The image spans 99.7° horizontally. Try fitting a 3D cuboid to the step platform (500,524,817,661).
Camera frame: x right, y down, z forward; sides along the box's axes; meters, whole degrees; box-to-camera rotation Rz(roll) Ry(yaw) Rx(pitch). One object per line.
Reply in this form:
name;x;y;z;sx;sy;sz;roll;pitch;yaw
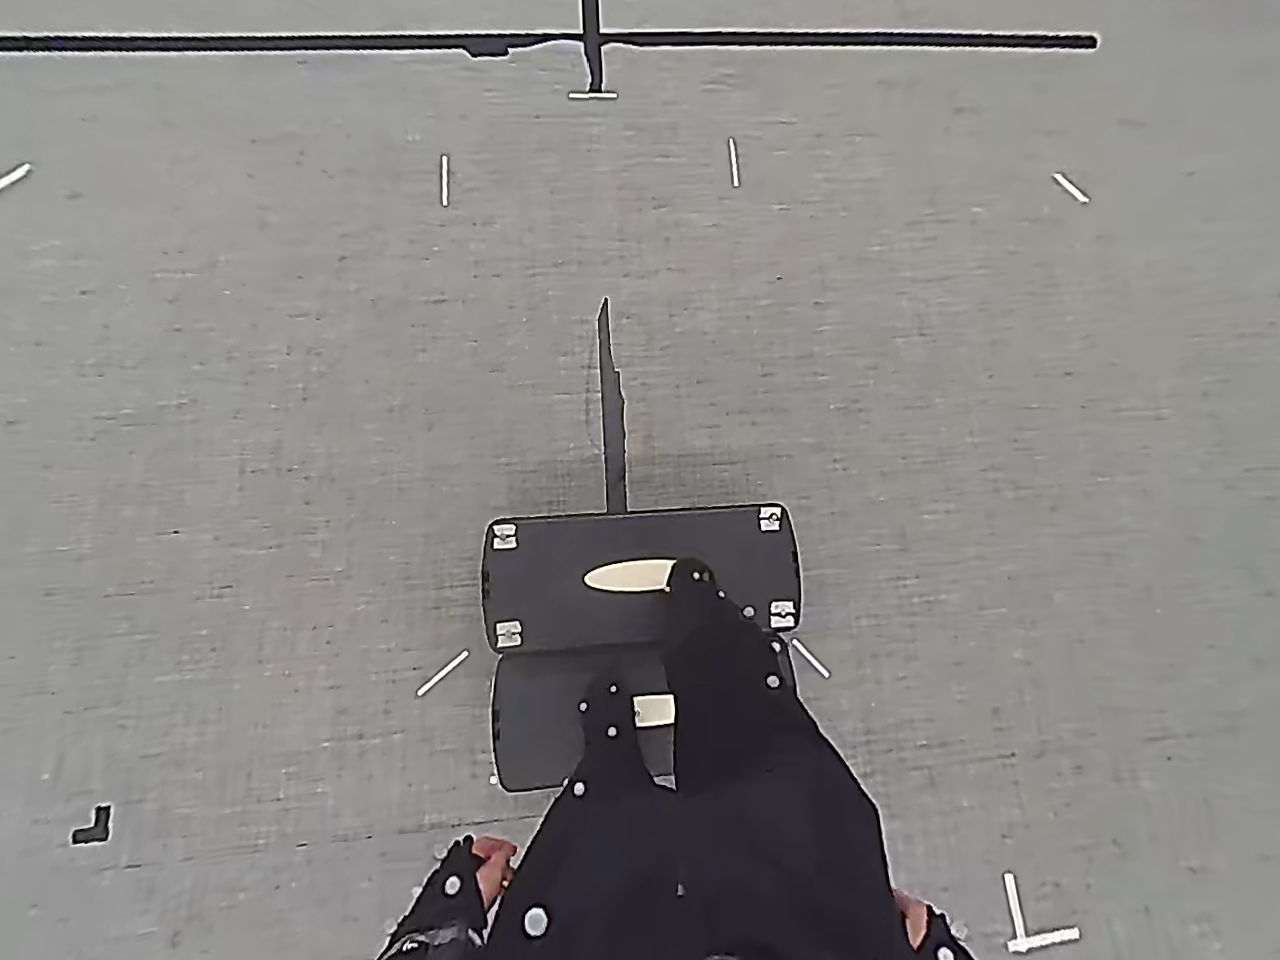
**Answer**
step platform;0.039;0.249;1.206;0.684;0.204;0.286;1;78;-5
